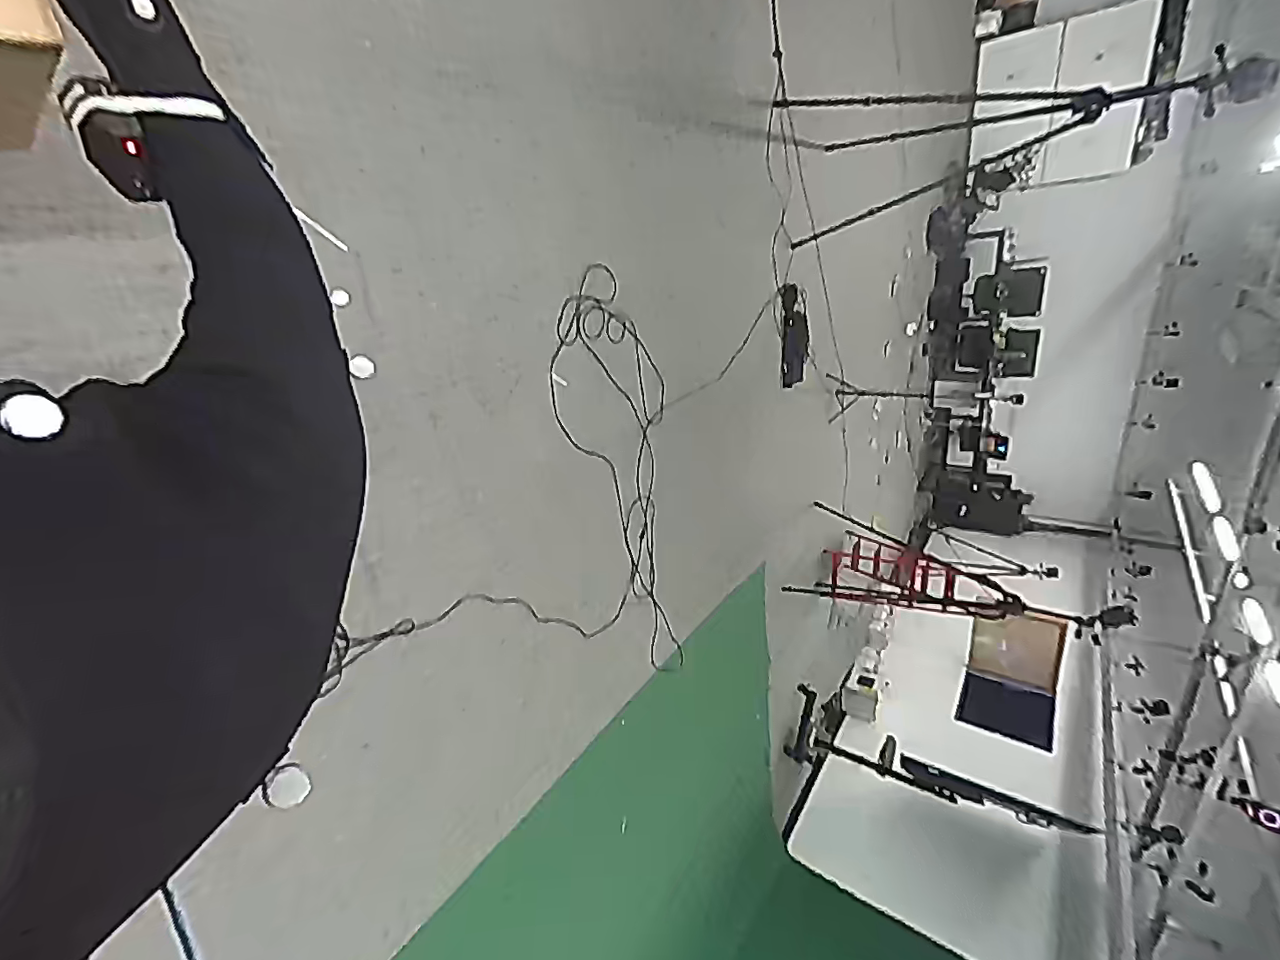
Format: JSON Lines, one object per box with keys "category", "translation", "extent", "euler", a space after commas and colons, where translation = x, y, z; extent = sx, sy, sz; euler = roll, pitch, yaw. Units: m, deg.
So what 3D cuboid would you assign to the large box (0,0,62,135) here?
{"category": "large box", "translation": [-0.687, -0.412, 0.299], "extent": [0.408, 0.320, 0.320], "euler": [-33, 123, -44]}
